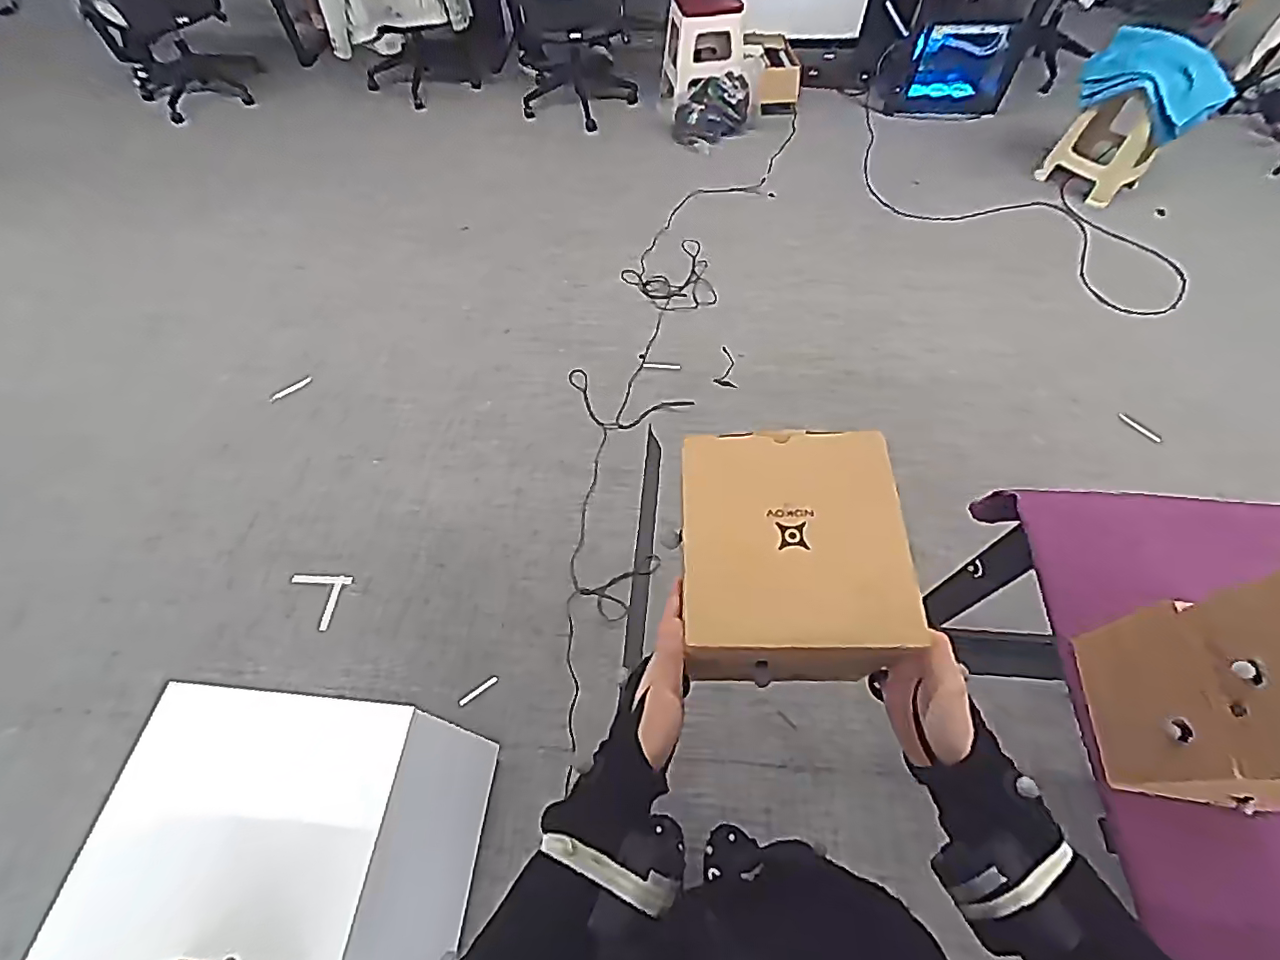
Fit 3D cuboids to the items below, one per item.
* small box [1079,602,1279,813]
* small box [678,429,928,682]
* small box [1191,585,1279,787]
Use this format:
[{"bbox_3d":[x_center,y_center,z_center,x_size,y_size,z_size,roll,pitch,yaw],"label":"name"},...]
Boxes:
[{"bbox_3d":[0.640,0.255,0.595,0.168,0.176,0.179,7,59,5],"label":"small box"},{"bbox_3d":[0.119,0.075,0.472,0.168,0.176,0.179,-2,61,4],"label":"small box"},{"bbox_3d":[0.646,0.174,0.452,0.179,0.176,0.168,6,59,6],"label":"small box"}]
